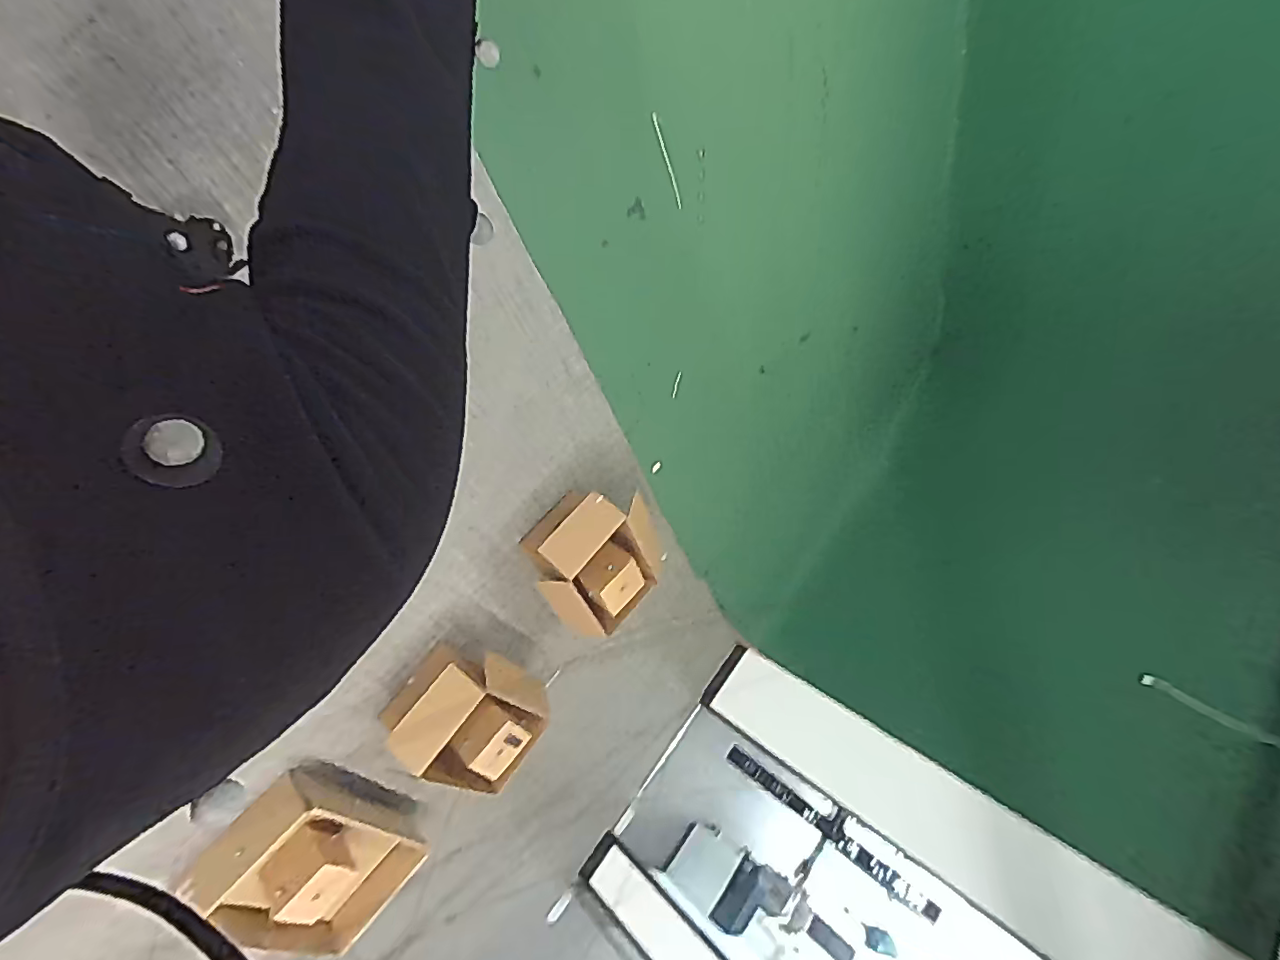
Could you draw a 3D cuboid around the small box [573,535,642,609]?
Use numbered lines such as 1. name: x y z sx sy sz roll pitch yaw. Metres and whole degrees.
1. small box: -0.128 0.337 2.009 0.179 0.176 0.168 -45 138 -22
